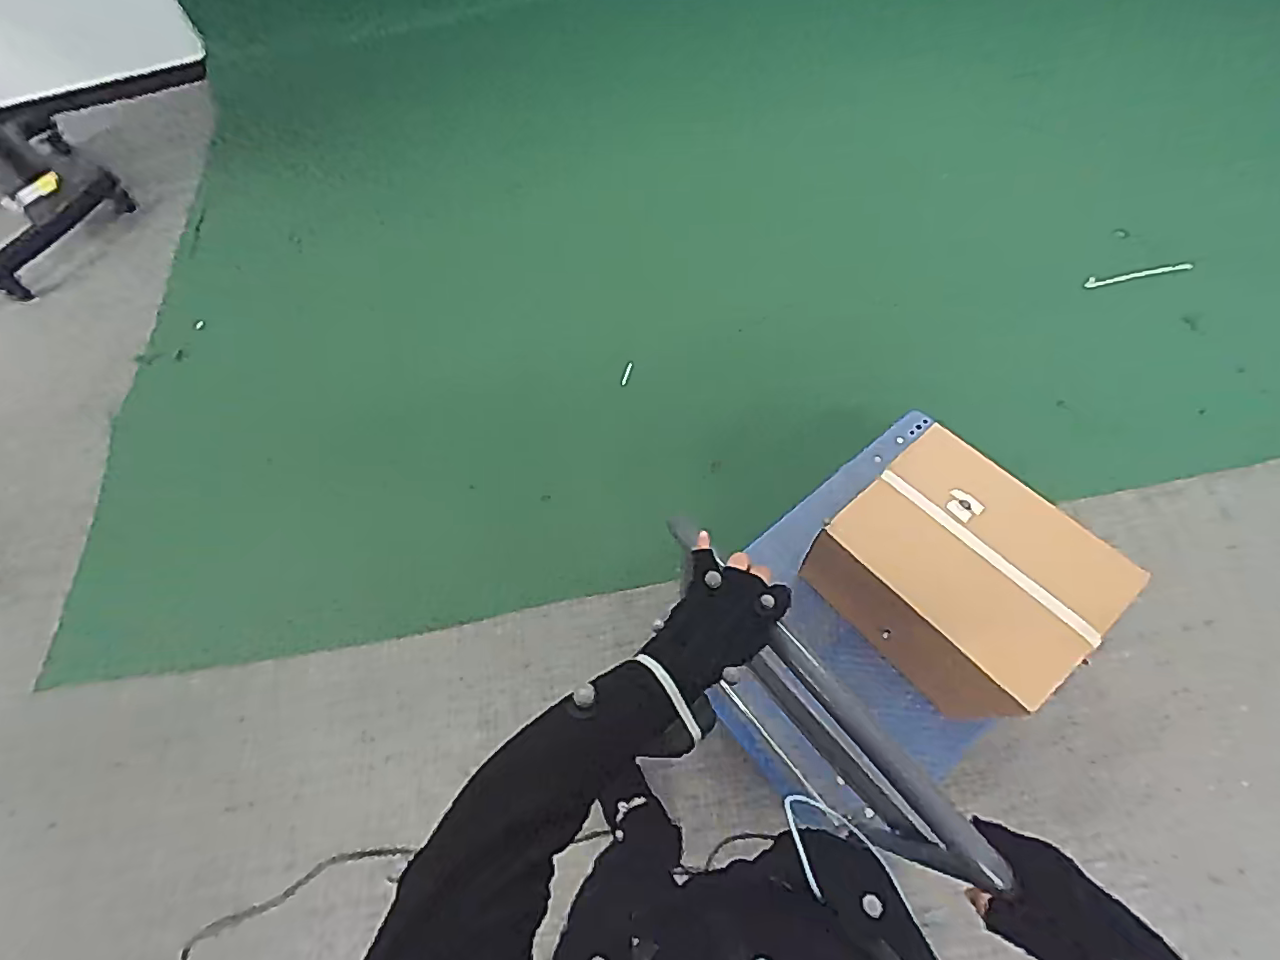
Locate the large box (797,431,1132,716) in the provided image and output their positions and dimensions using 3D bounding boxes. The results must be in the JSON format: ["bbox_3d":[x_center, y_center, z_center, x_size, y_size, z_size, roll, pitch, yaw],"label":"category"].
[{"bbox_3d":[0.578,0.190,1.055,0.320,0.320,0.408,-40,66,-13],"label":"large box"}]
